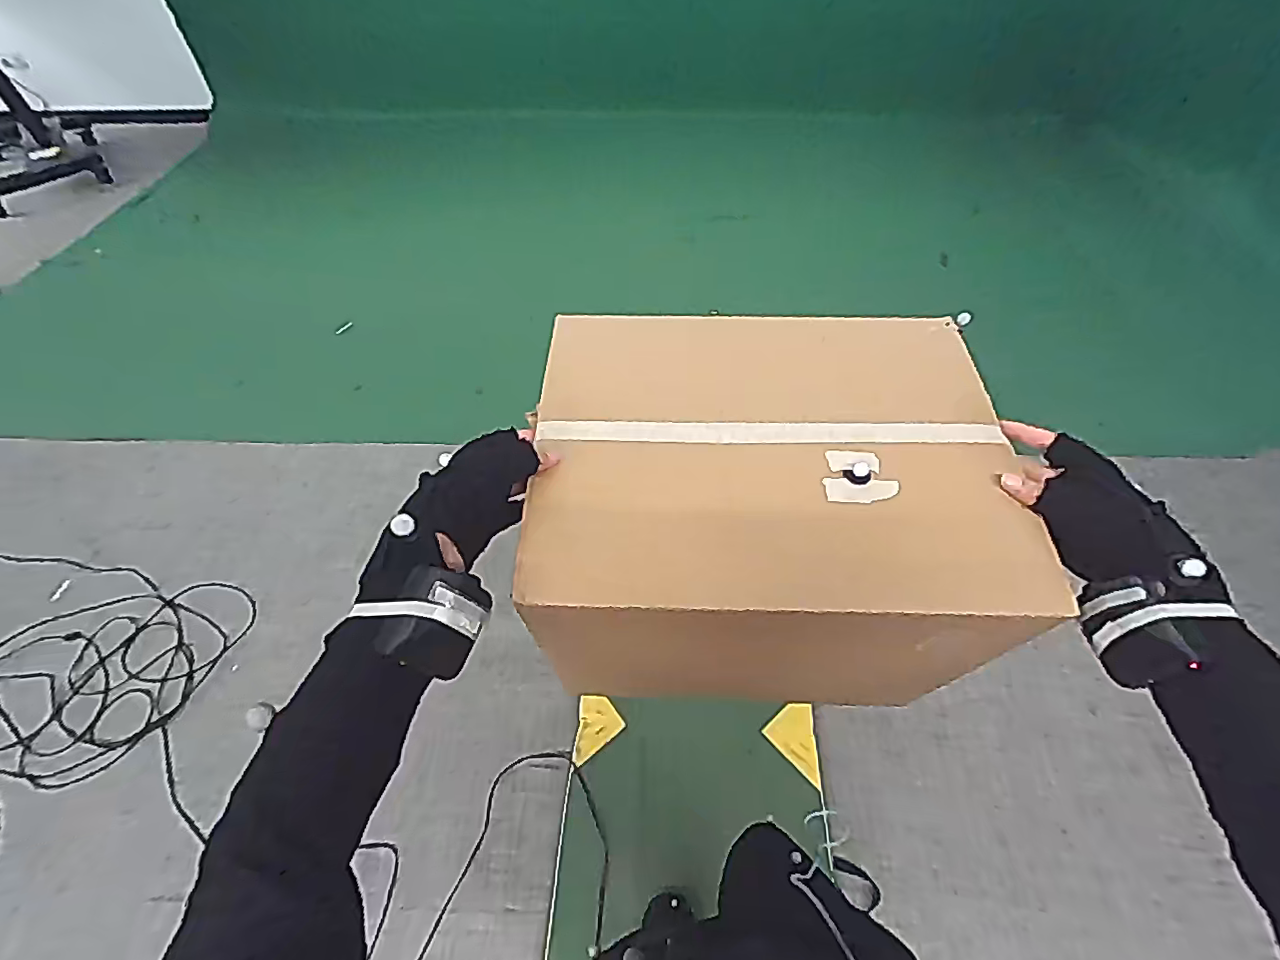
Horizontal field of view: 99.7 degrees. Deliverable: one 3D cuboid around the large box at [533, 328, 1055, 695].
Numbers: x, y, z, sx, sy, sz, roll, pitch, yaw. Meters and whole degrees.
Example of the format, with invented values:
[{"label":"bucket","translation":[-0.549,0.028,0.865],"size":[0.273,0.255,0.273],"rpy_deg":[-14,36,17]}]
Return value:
[{"label":"large box","translation":[0.115,0.049,0.611],"size":[0.408,0.320,0.320],"rpy_deg":[1,57,1]}]
